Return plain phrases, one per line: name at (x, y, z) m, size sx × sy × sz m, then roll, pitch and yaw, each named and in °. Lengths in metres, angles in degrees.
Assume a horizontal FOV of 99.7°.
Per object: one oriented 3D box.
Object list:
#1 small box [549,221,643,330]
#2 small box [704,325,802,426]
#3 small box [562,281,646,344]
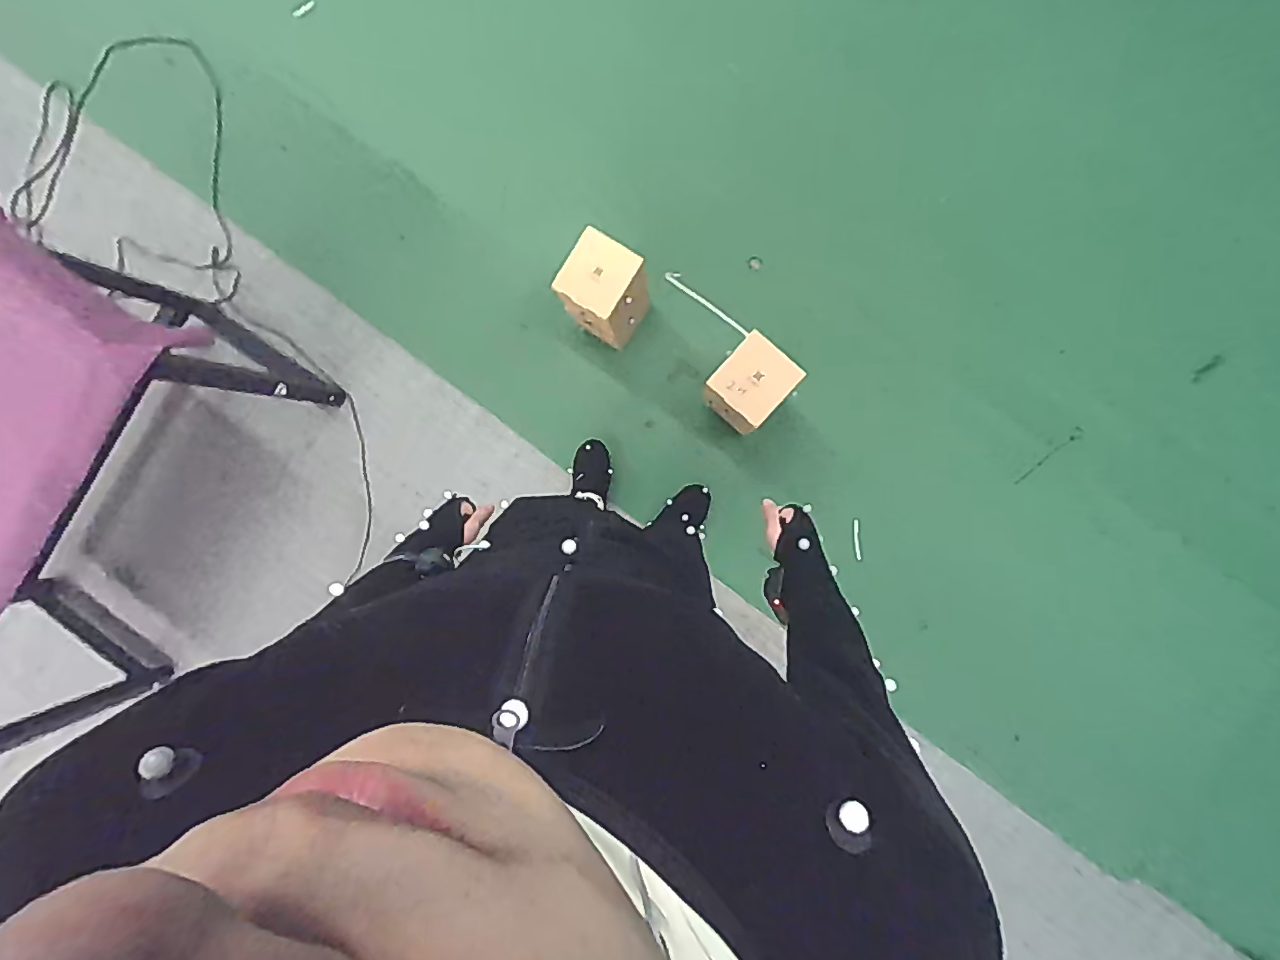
small box at (-0.104, -0.516, 1.387) m, size 0.168 × 0.176 × 0.179 m, roll 33°, pitch 95°, yaw 3°
small box at (0.273, -0.254, 1.356) m, size 0.168 × 0.176 × 0.179 m, roll 43°, pitch 95°, yaw 3°
small box at (-0.095, -0.517, 1.550) m, size 0.168 × 0.176 × 0.179 m, roll 34°, pitch 94°, yaw 4°
